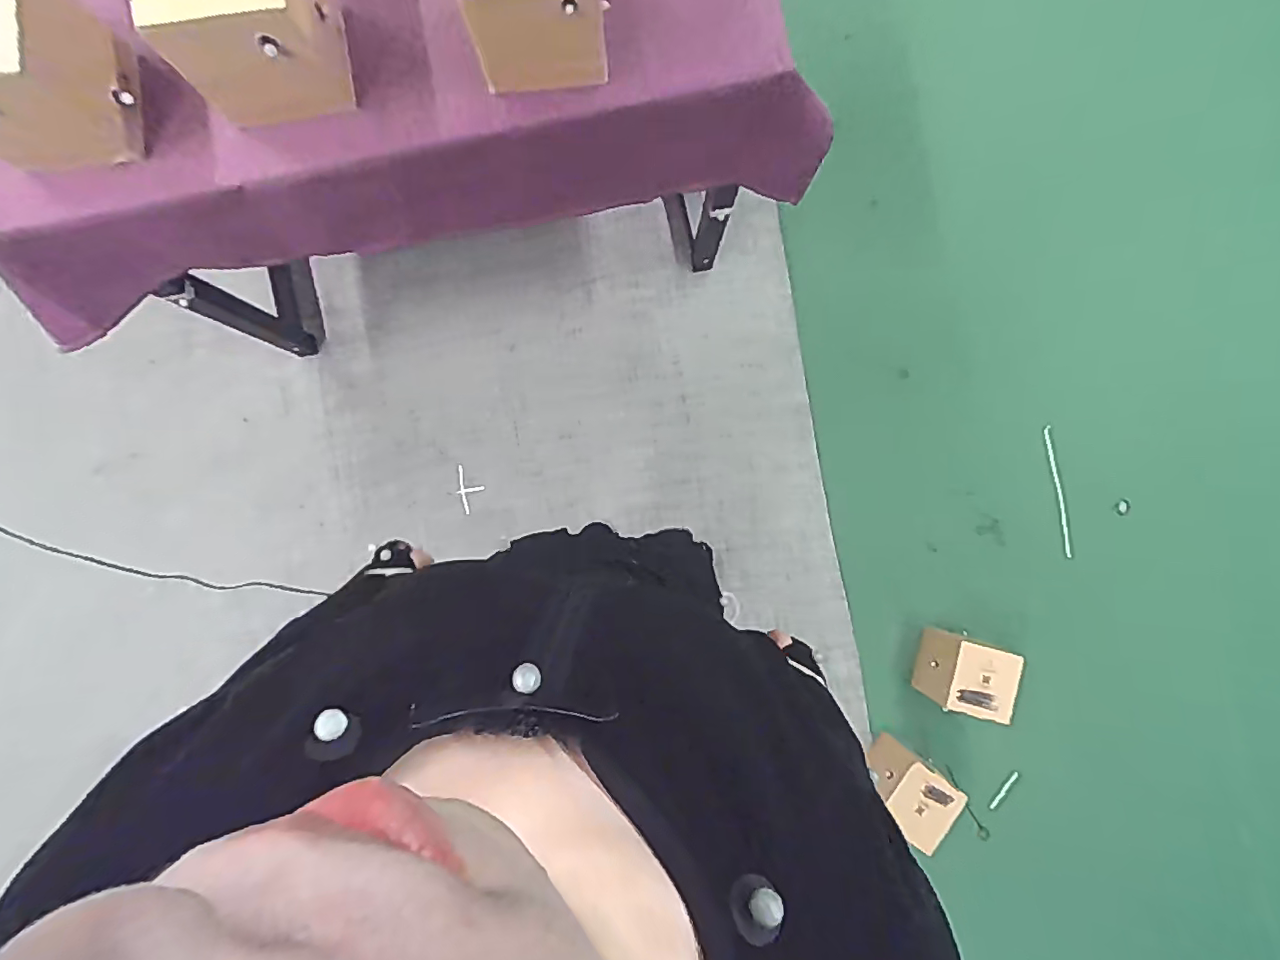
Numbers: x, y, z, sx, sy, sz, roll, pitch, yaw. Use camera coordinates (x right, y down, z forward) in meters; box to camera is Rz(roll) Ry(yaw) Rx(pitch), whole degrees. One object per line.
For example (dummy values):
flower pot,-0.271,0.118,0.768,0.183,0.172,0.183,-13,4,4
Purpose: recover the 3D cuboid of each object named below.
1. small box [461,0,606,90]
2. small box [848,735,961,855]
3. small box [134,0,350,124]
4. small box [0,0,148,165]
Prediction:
small box,-0.141,-0.655,0.715,0.179,0.176,0.168,-5,88,-2
small box,0.679,0.809,1.412,0.168,0.176,0.179,36,89,0
small box,-0.503,-0.604,0.703,0.179,0.176,0.168,-9,87,-2
small box,-0.795,-0.534,0.695,0.179,0.176,0.168,-5,89,-2
